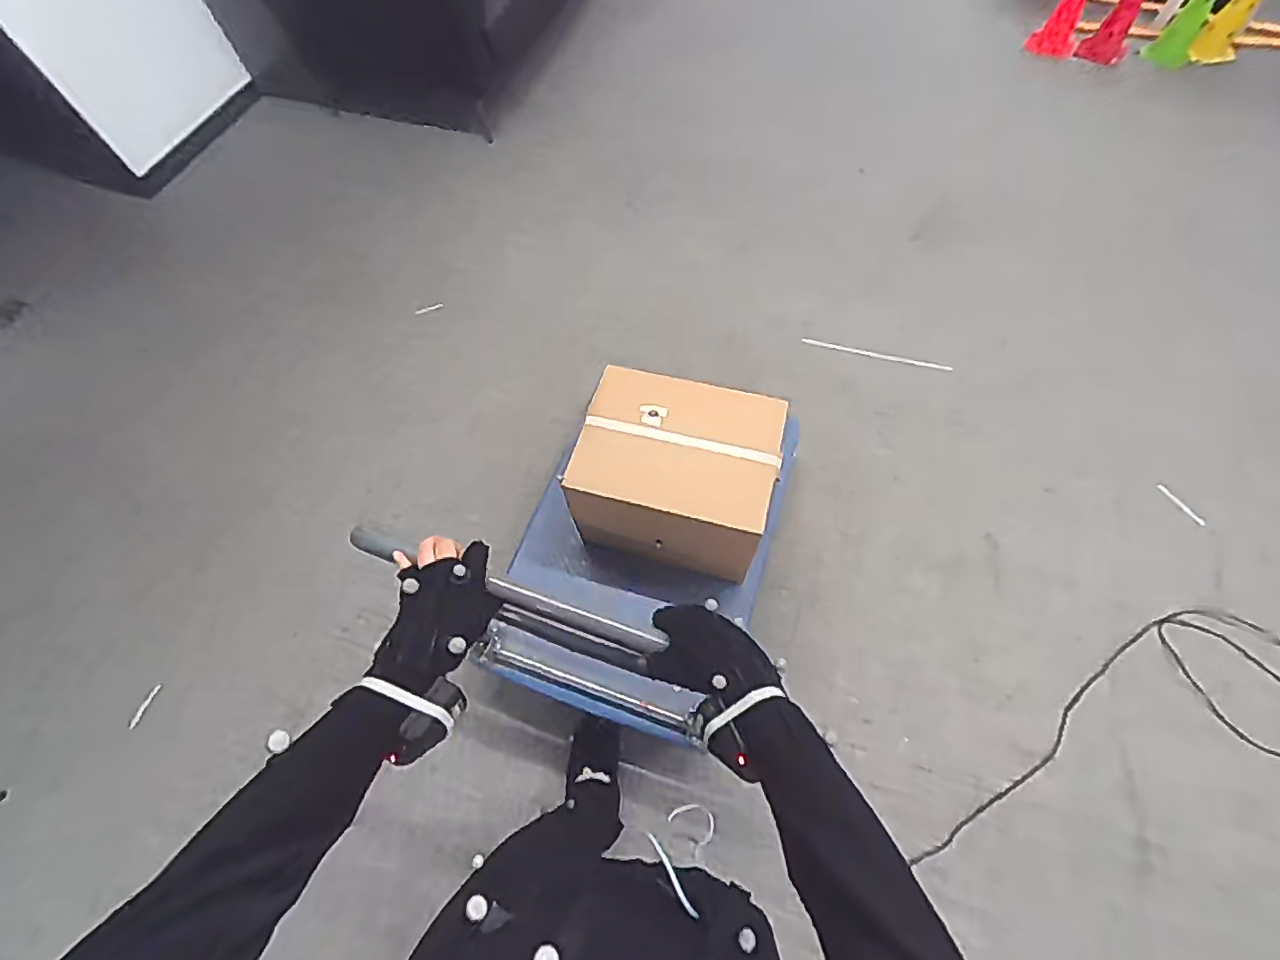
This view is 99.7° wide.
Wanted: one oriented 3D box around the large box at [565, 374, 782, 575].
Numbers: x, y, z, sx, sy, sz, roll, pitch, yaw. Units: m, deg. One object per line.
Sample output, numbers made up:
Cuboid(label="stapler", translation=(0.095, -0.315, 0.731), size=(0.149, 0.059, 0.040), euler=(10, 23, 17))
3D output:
Cuboid(label="large box", translation=(0.088, -0.004, 1.248), size=(0.408, 0.320, 0.320), euler=(12, 64, 10))
